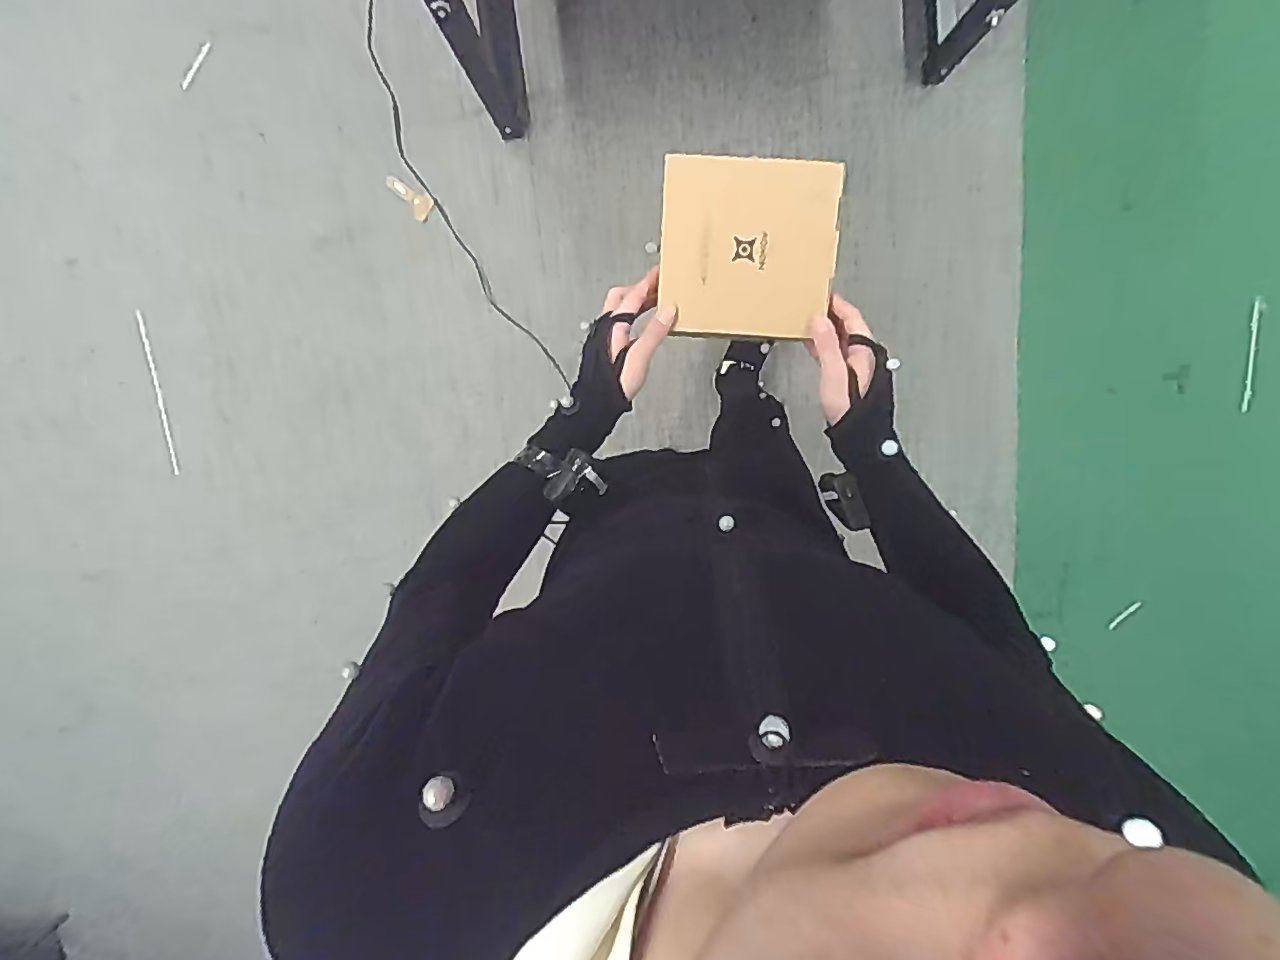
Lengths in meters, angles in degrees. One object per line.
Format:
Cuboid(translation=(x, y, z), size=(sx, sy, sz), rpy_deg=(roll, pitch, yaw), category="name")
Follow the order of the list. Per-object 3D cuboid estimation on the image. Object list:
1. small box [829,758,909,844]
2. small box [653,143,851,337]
Cuboid(translation=(0.701, 0.984, 1.668), size=(0.179, 0.176, 0.168), rpy_deg=(-2, 99, 0), category="small box")
Cuboid(translation=(0.108, -0.251, 0.605), size=(0.179, 0.176, 0.168), rpy_deg=(4, 103, 0), category="small box")
